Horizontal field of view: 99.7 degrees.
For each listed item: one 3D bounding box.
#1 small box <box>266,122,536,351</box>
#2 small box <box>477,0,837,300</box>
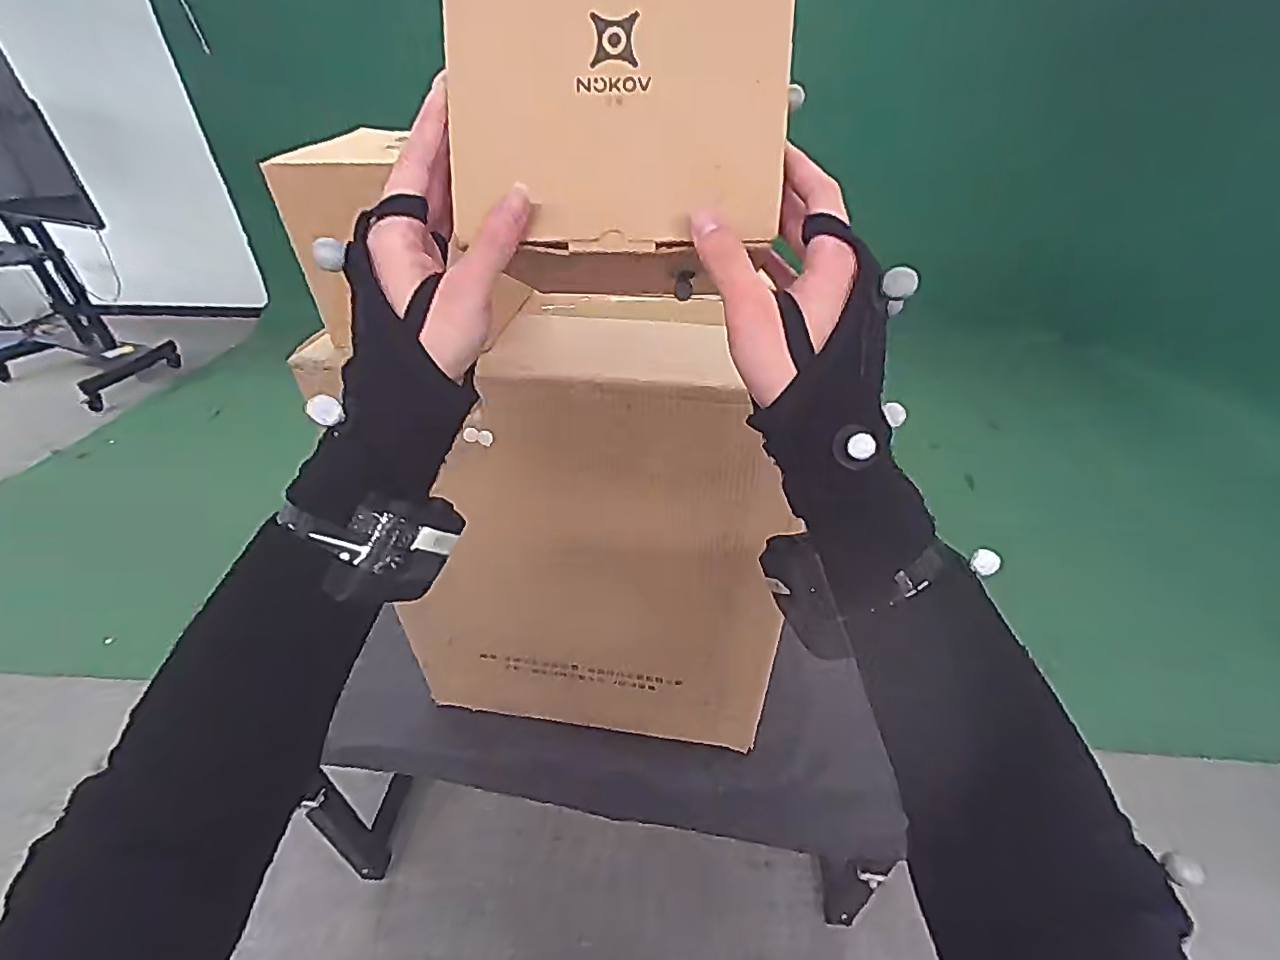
[{"bbox_3d":[-0.211,-0.247,0.540,0.168,0.176,0.179,5,40,8],"label":"small box"},{"bbox_3d":[0.011,-0.211,0.327,0.168,0.179,0.176,3,10,3],"label":"small box"}]
